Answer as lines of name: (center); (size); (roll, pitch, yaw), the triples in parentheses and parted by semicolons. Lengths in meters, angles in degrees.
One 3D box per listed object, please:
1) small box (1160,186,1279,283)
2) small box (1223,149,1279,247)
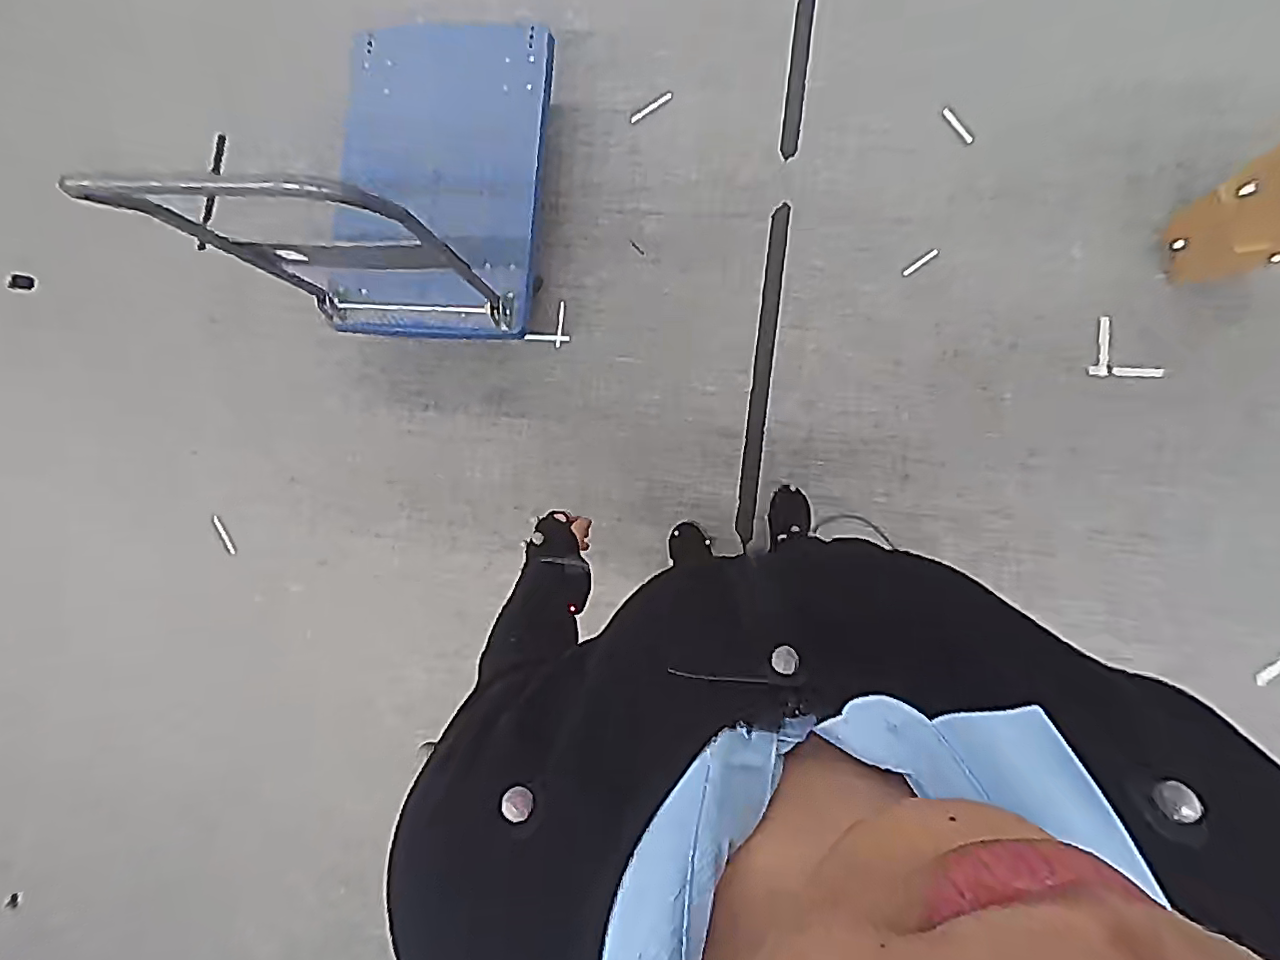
small box: (1.435, -0.599, 1.312); (0.179, 0.176, 0.168); (-6, 85, 7)
small box: (1.422, -0.616, 1.150); (0.179, 0.176, 0.168); (6, 87, 8)
